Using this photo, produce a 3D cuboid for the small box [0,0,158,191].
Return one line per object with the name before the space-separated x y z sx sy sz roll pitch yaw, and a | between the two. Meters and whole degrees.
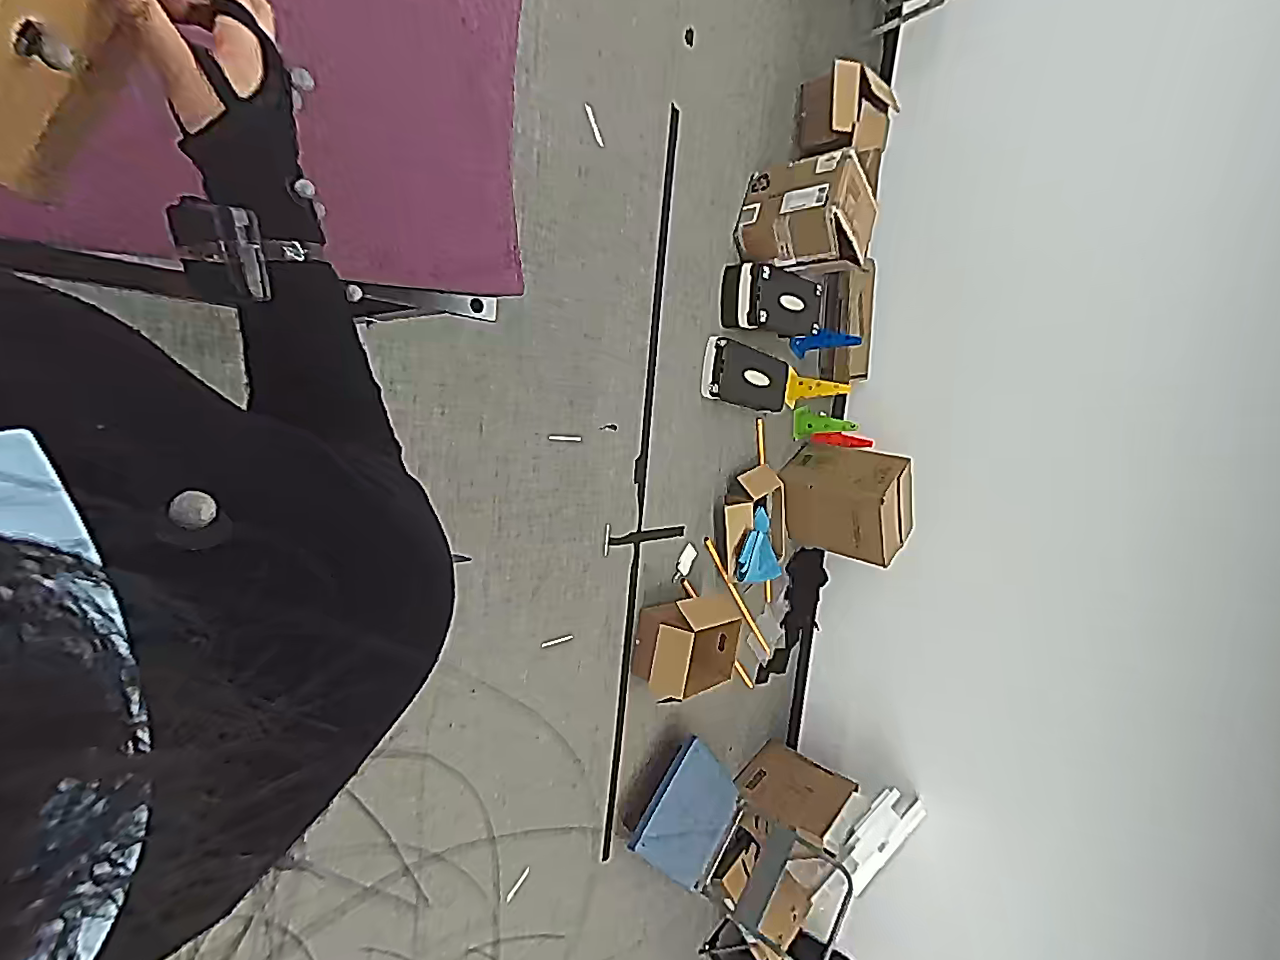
small box | -0.390 -0.286 0.272 0.168 0.176 0.179 32 87 -35
